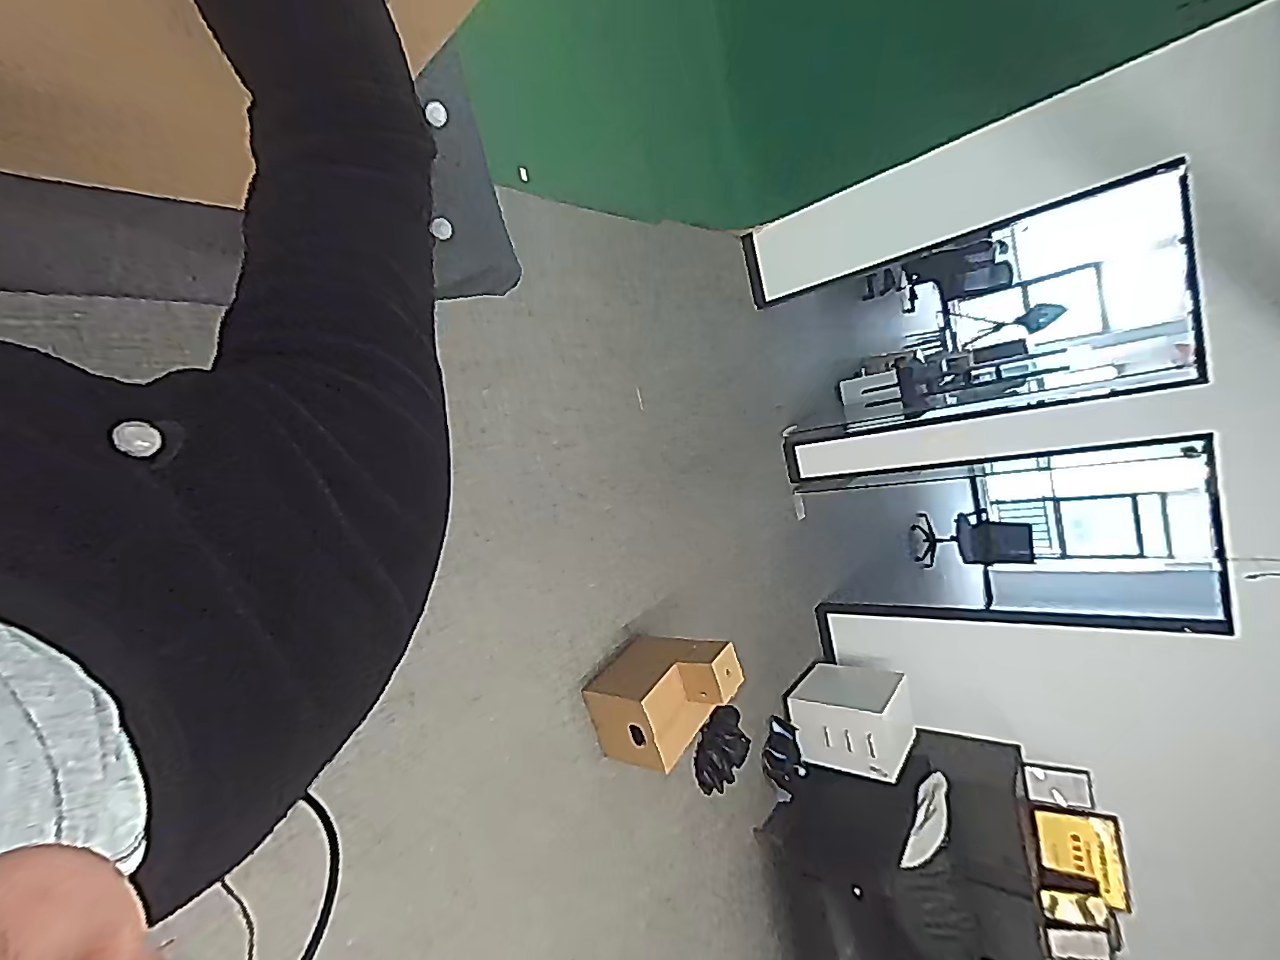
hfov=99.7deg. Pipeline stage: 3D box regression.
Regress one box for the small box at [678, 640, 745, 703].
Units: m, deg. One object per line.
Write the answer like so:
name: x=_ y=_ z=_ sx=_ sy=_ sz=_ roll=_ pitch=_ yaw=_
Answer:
small box: x=0.277 y=0.735 z=2.099 sx=0.168 sy=0.176 sz=0.179 roll=-28 pitch=101 yaw=-50
